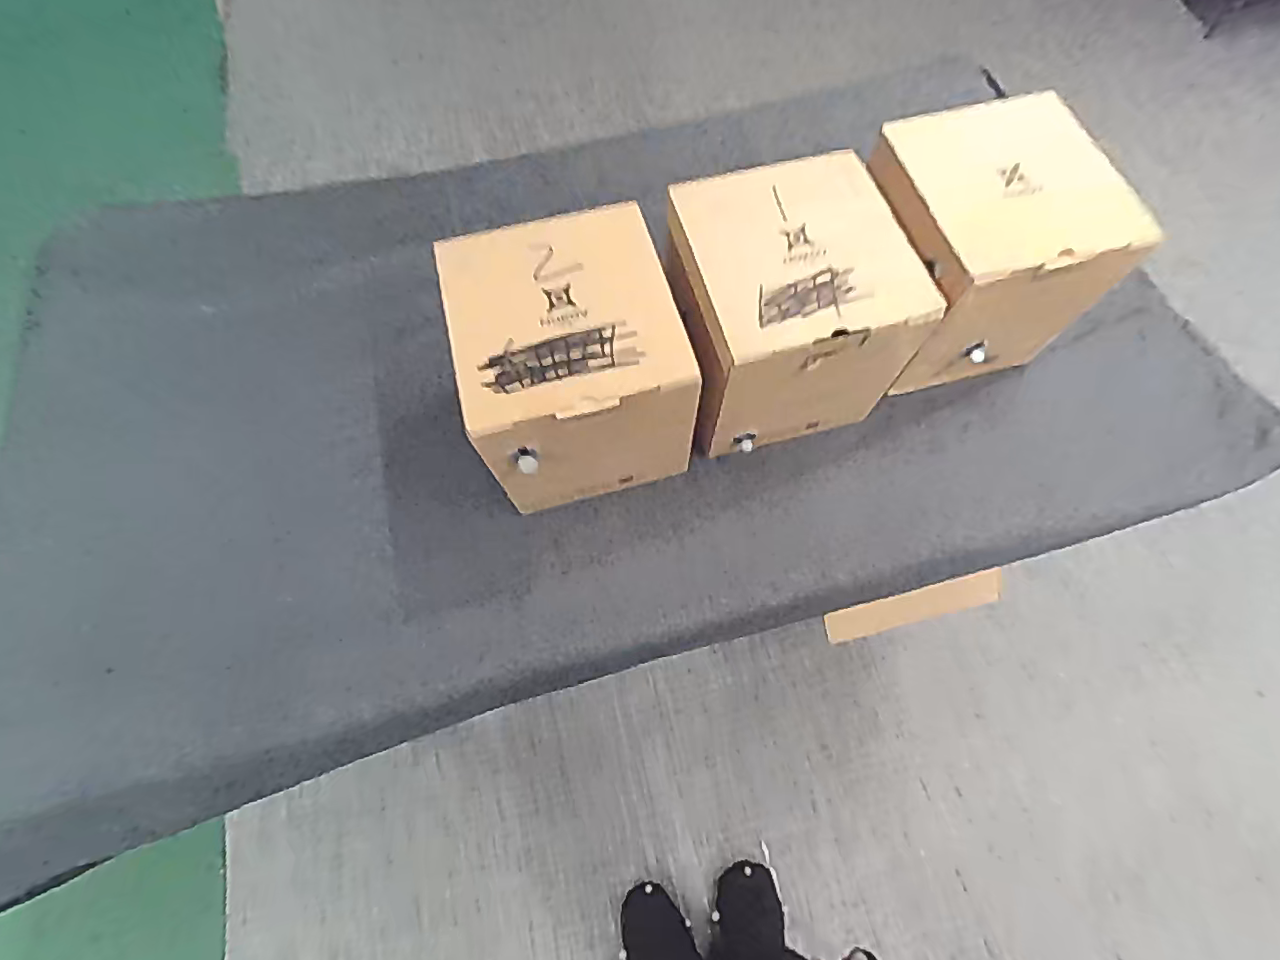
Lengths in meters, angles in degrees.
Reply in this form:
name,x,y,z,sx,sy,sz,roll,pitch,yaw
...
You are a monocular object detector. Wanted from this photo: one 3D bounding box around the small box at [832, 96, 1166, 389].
name,x,y,z,sx,sy,sz,roll,pitch,yaw
small box,0.308,-0.215,0.514,0.168,0.176,0.179,-14,70,-5
